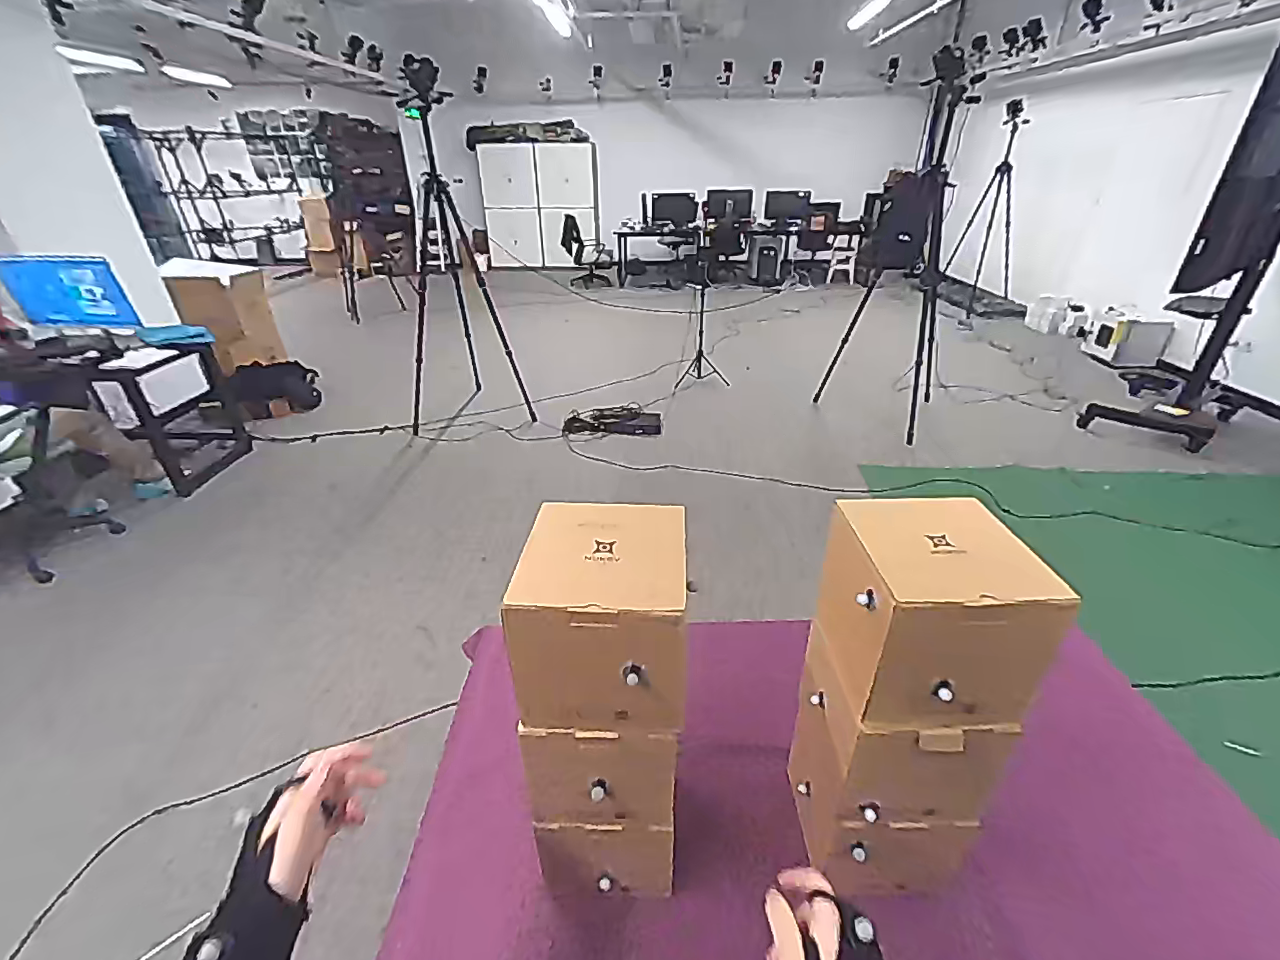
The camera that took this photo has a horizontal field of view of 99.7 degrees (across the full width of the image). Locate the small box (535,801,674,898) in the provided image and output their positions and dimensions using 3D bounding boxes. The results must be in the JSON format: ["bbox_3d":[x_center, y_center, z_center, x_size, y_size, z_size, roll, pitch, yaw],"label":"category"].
[{"bbox_3d":[-0.040,0.430,0.741,0.168,0.176,0.179,-1,30,2],"label":"small box"}]

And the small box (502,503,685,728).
[{"bbox_3d":[-0.035,0.142,0.585,0.168,0.176,0.179,2,29,3],"label":"small box"}]

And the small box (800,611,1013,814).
[{"bbox_3d":[0.305,0.280,0.663,0.168,0.176,0.179,-1,28,1],"label":"small box"}]

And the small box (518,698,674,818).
[{"bbox_3d":[-0.042,0.286,0.663,0.168,0.176,0.179,0,30,1],"label":"small box"}]

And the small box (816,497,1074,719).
[{"bbox_3d":[0.304,0.133,0.591,0.168,0.176,0.179,-1,30,-1],"label":"small box"}]
